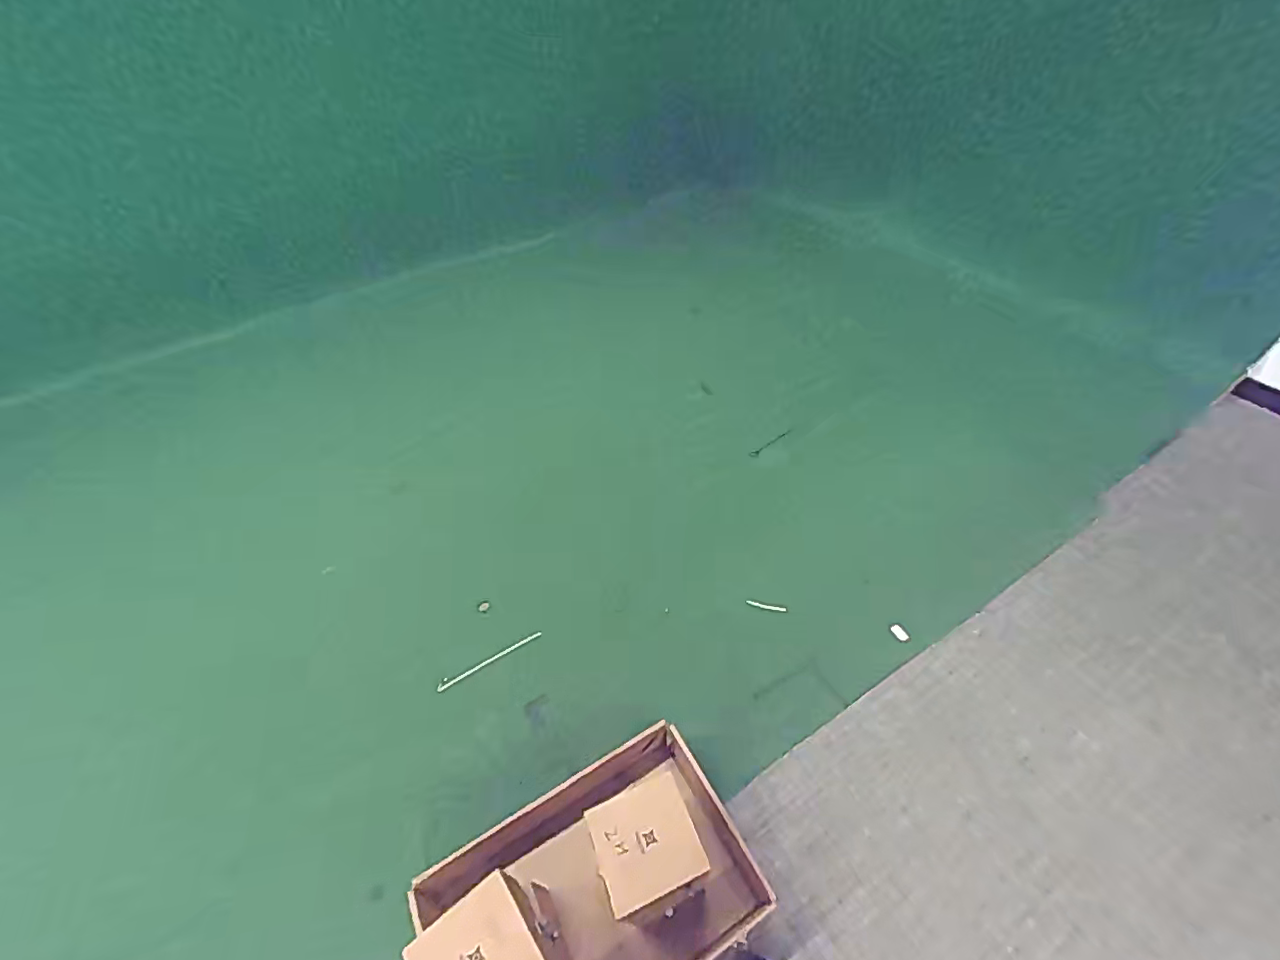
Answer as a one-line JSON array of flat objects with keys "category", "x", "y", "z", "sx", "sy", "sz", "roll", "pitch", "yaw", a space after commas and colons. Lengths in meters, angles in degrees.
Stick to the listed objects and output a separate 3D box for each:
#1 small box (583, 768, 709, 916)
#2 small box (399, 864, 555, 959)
[{"category": "small box", "x": 0.009, "y": 0.663, "z": 0.992, "sx": 0.179, "sy": 0.176, "sz": 0.168, "roll": -20, "pitch": 51, "yaw": -13}, {"category": "small box", "x": -0.261, "y": 0.789, "z": 0.895, "sx": 0.179, "sy": 0.176, "sz": 0.168, "roll": -31, "pitch": 55, "yaw": -24}]
